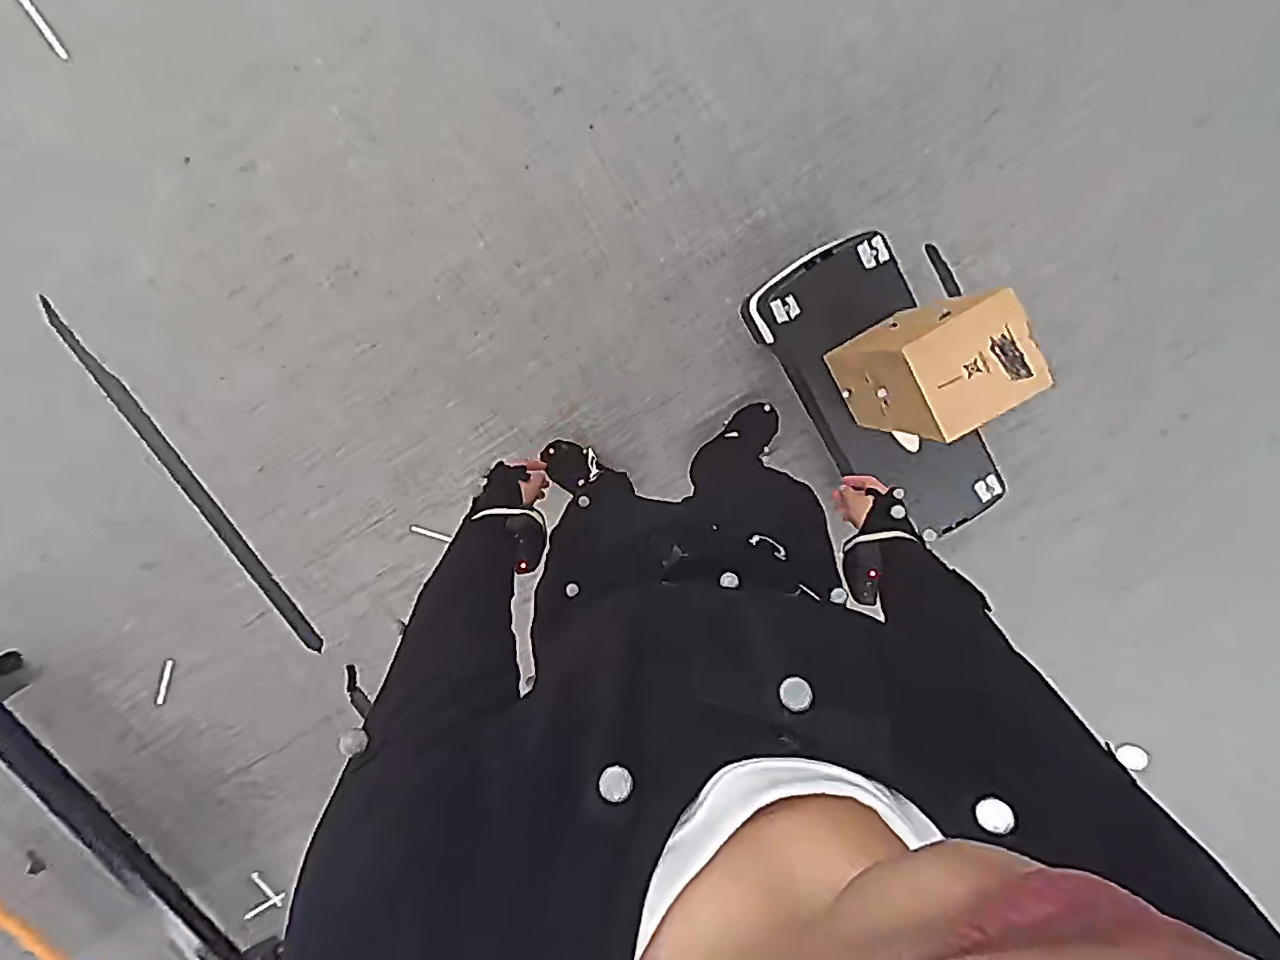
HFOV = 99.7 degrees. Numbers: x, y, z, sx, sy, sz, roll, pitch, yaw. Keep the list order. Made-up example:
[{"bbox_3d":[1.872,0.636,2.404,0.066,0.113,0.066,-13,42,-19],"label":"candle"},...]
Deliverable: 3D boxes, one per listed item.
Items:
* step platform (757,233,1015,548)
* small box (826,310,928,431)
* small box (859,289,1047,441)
[{"bbox_3d":[0.549,-0.185,1.223,0.286,0.204,0.684,-31,99,5],"label":"step platform"},{"bbox_3d":[0.492,-0.213,1.040,0.179,0.176,0.168,-29,99,5],"label":"small box"},{"bbox_3d":[0.495,-0.184,0.879,0.179,0.176,0.168,-30,100,5],"label":"small box"}]
